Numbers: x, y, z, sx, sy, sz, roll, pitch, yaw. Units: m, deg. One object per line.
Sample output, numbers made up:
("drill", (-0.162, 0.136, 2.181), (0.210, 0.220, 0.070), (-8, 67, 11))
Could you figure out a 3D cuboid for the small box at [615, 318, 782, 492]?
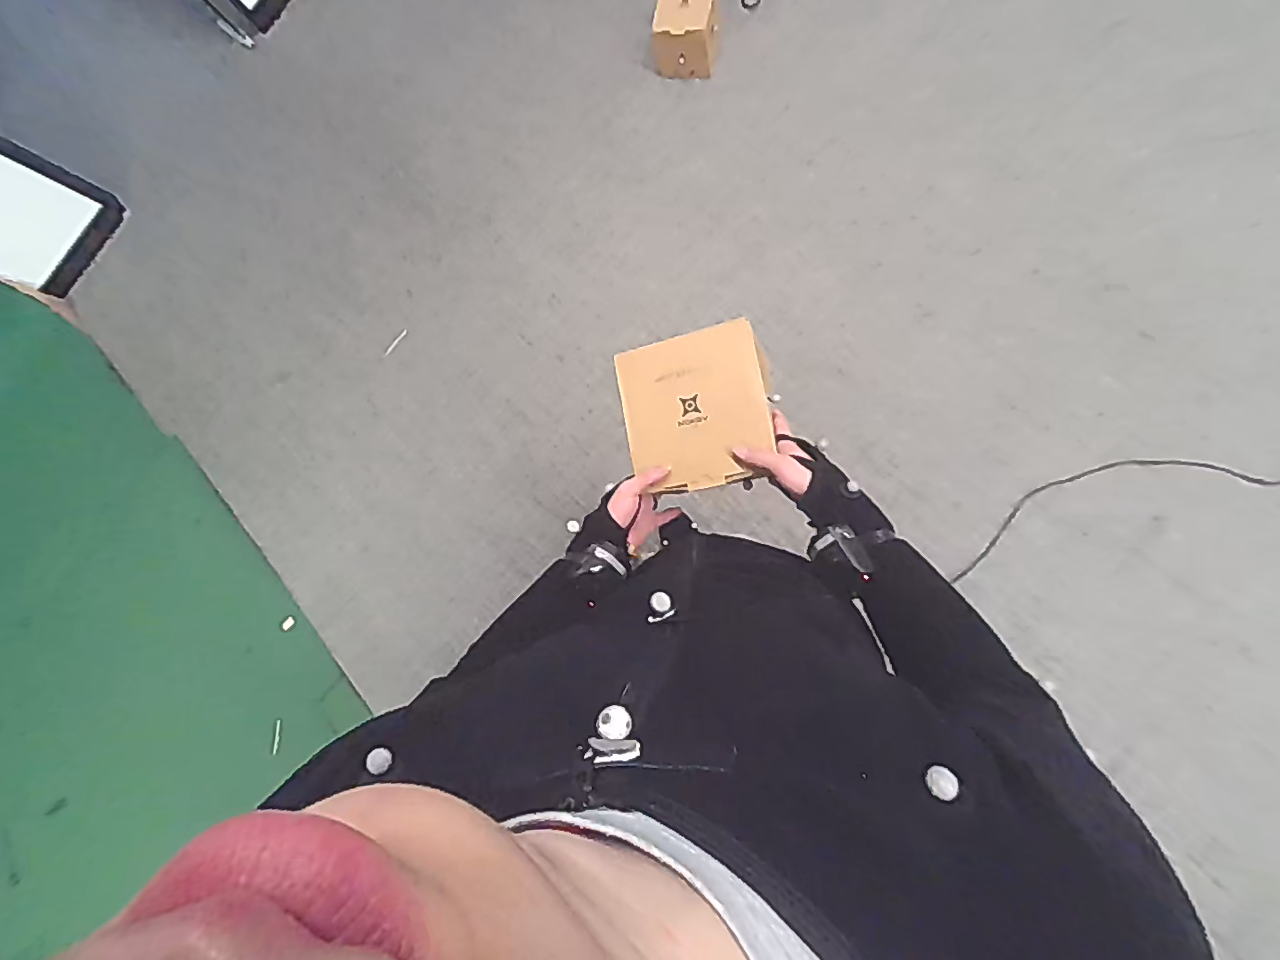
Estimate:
("small box", (0.085, -0.084, 0.702), (0.168, 0.176, 0.179), (-12, 85, 17))
